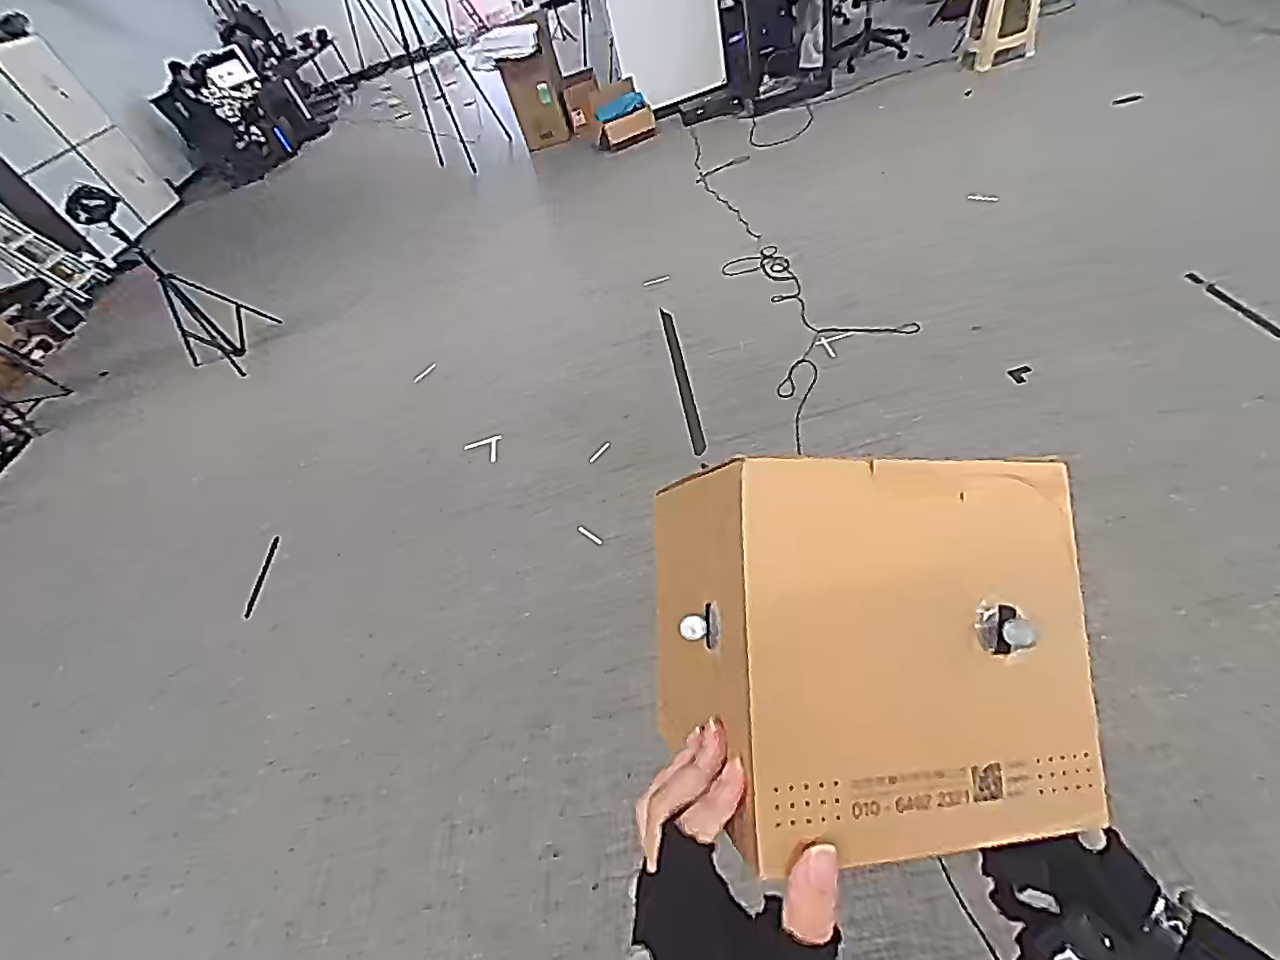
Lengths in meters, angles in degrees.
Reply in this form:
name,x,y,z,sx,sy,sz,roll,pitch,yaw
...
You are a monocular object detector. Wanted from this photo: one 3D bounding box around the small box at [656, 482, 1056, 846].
name,x,y,z,sx,sy,sz,roll,pitch,yaw
small box,0.108,0.095,0.330,0.168,0.179,0.176,0,83,-10
